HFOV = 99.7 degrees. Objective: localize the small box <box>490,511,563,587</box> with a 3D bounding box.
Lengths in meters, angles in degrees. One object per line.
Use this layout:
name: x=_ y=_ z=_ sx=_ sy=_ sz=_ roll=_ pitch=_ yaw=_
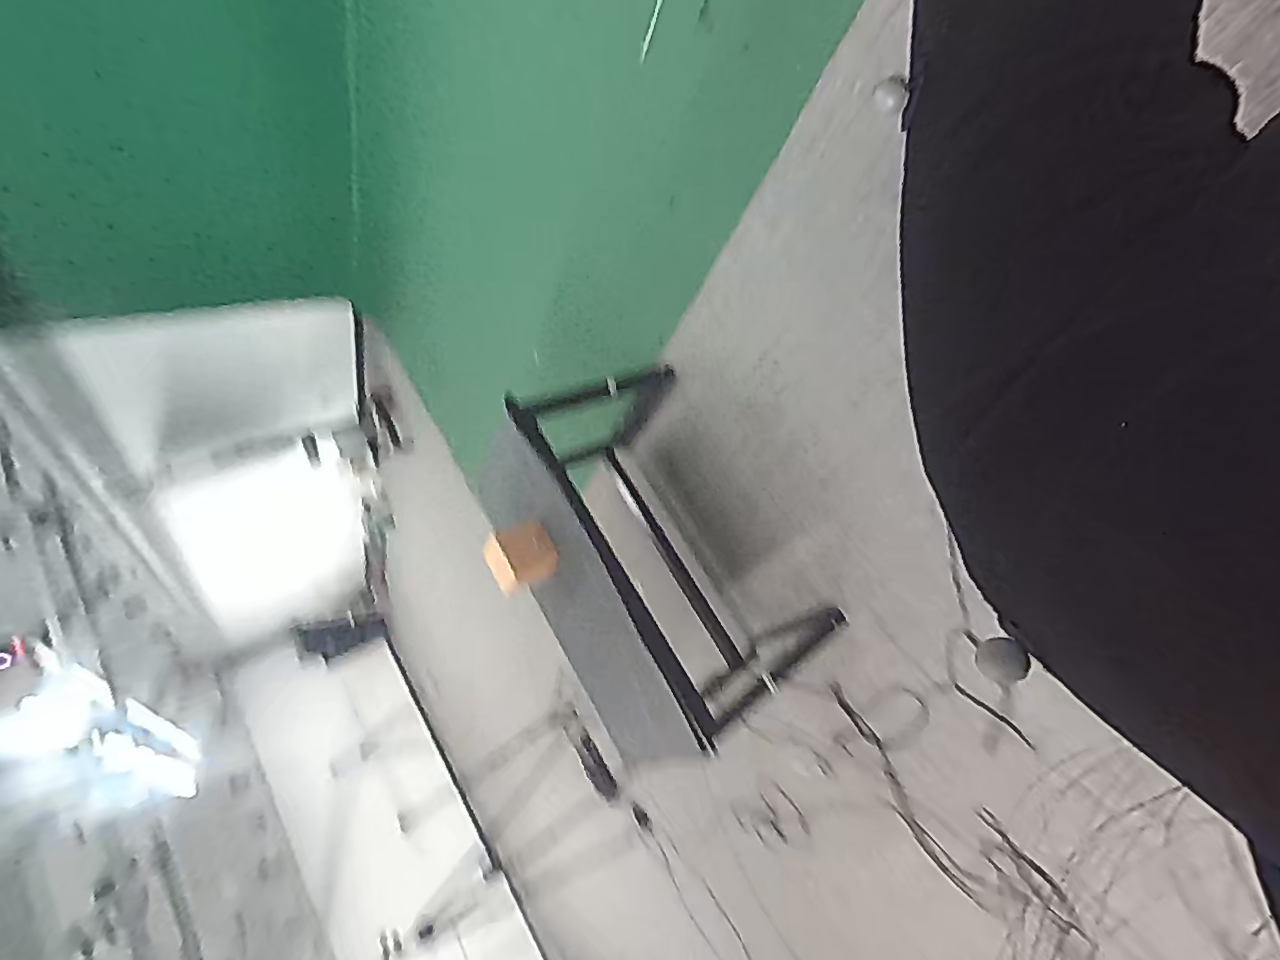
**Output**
small box: x=-0.383 y=0.232 z=1.829 sx=0.168 sy=0.176 sz=0.179 roll=58 pitch=143 yaw=14
